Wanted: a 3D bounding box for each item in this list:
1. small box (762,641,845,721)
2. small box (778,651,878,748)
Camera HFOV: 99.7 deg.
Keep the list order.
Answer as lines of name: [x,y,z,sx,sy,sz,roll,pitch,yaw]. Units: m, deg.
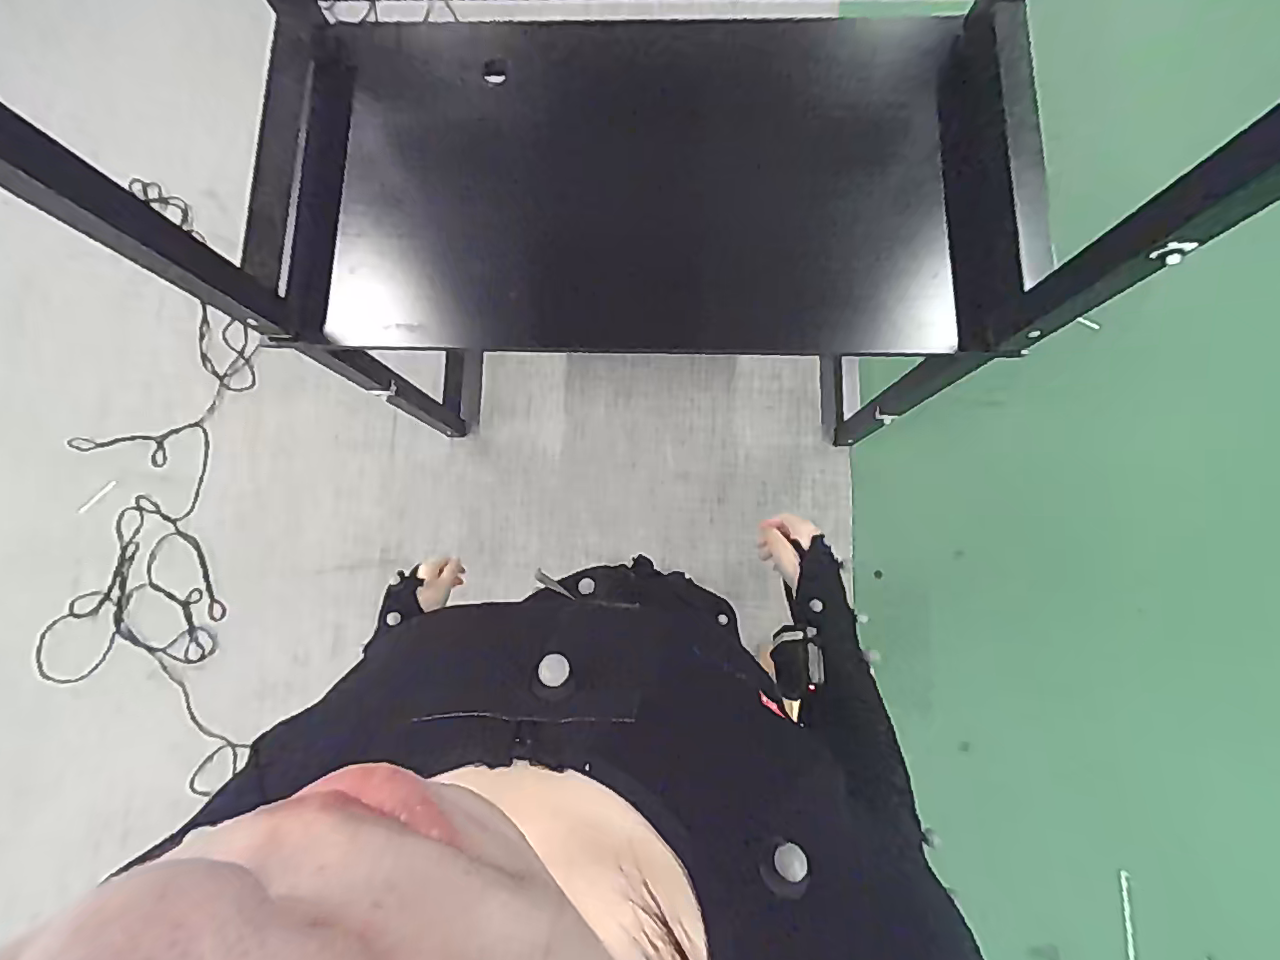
small box: [0.408,0.505,1.366,0.179,0.176,0.168,0,82,2]
small box: [0.409,0.481,1.205,0.179,0.176,0.168,1,81,1]
